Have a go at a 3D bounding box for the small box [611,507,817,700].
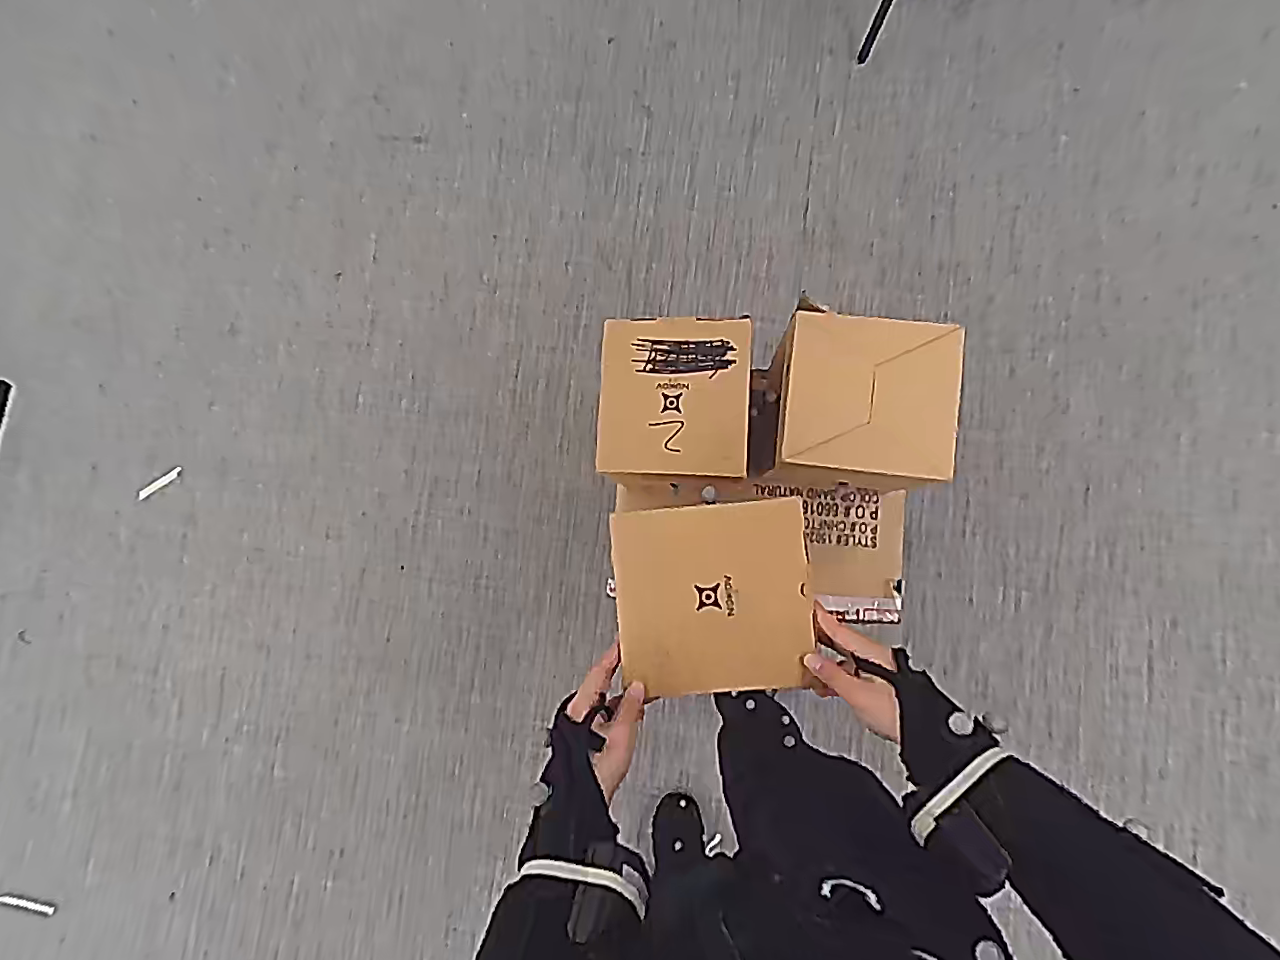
[{"bbox_3d":[0.070,0.120,0.570,0.179,0.176,0.168,-5,85,2],"label":"small box"}]
